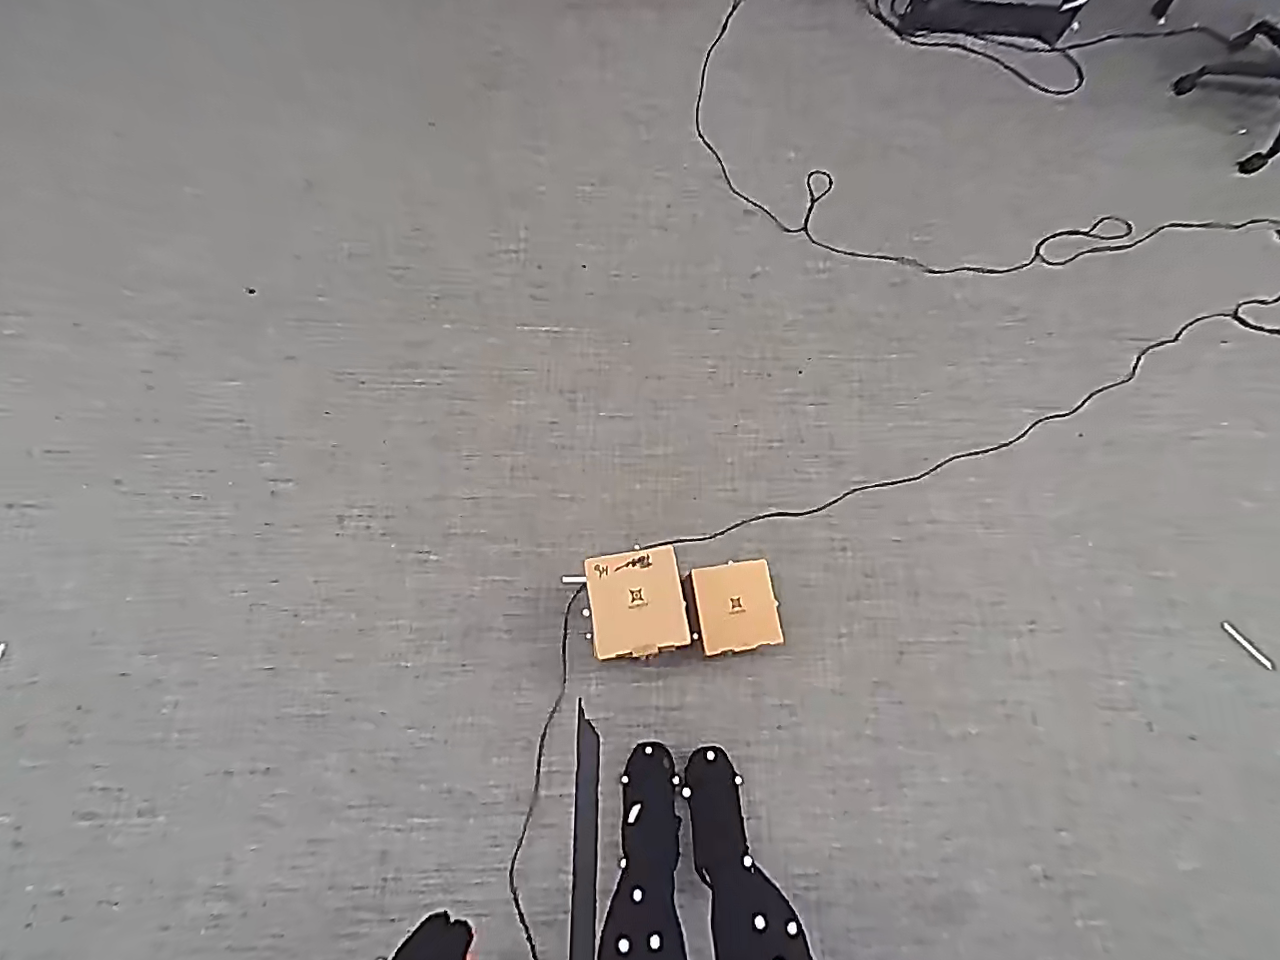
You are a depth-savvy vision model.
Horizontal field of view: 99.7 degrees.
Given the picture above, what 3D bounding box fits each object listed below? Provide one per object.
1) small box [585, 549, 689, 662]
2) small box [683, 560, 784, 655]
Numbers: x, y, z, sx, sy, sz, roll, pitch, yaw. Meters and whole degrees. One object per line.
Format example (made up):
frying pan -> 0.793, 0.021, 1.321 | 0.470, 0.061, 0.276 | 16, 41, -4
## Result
small box -> -0.010, 0.237, 1.024 | 0.168, 0.176, 0.179 | -8, 75, -6
small box -> 0.197, 0.285, 1.193 | 0.168, 0.176, 0.179 | -8, 75, -6
